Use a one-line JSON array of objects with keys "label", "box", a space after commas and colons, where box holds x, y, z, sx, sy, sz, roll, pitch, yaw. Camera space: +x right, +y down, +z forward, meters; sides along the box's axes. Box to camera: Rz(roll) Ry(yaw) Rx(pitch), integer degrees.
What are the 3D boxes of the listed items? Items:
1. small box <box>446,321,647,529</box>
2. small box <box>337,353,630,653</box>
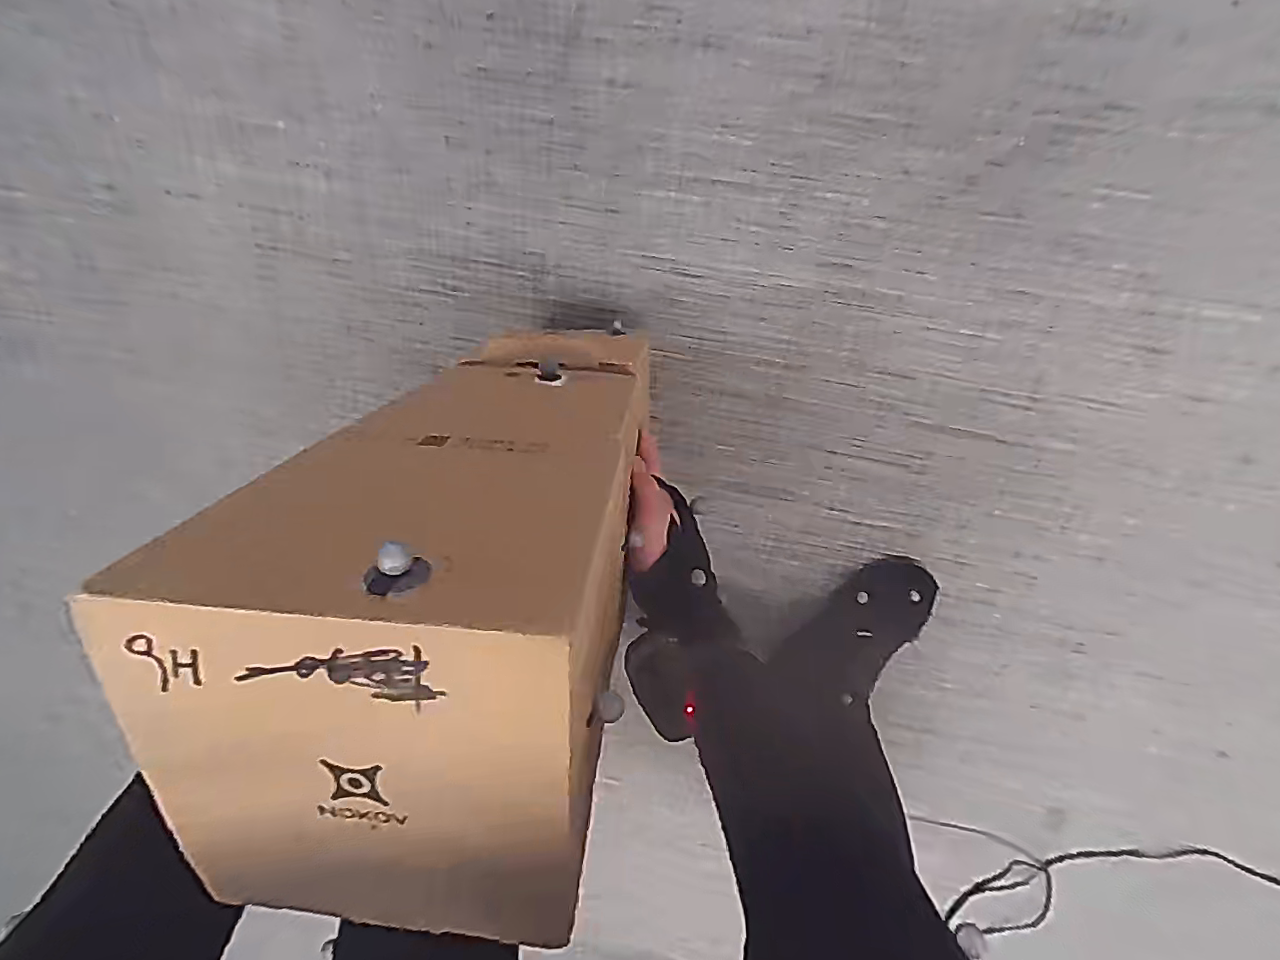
[{"label": "small box", "box": [-0.082, -0.067, 0.569, 0.168, 0.176, 0.179, 2, 117, 5]}, {"label": "small box", "box": [-0.096, 0.007, 0.425, 0.168, 0.176, 0.179, 3, 114, 3]}]
